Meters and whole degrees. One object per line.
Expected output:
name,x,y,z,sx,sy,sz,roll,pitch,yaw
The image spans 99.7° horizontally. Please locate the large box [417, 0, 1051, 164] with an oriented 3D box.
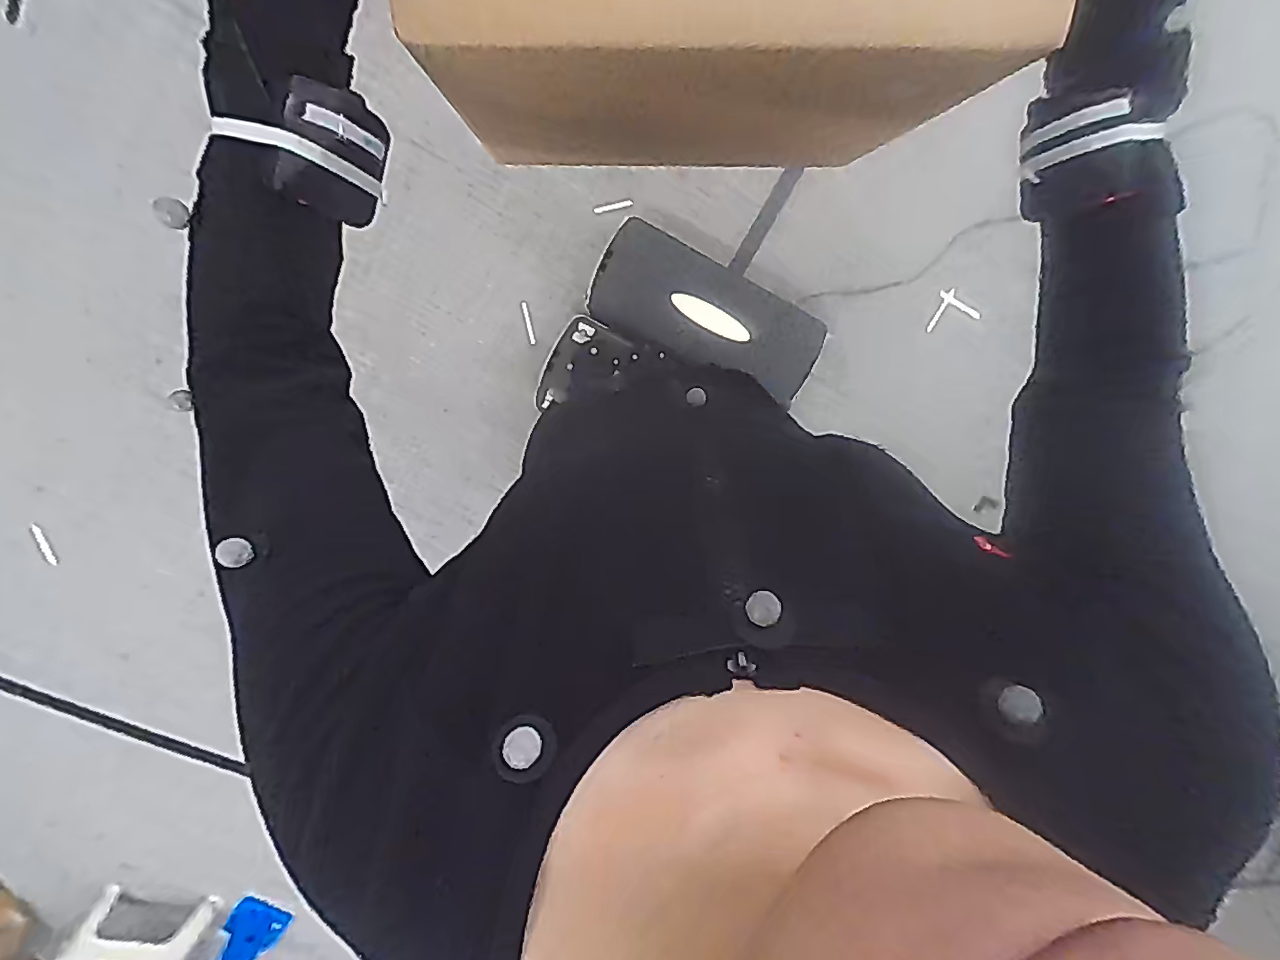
large box,0.048,-0.463,0.431,0.408,0.320,0.320,-2,109,-4
